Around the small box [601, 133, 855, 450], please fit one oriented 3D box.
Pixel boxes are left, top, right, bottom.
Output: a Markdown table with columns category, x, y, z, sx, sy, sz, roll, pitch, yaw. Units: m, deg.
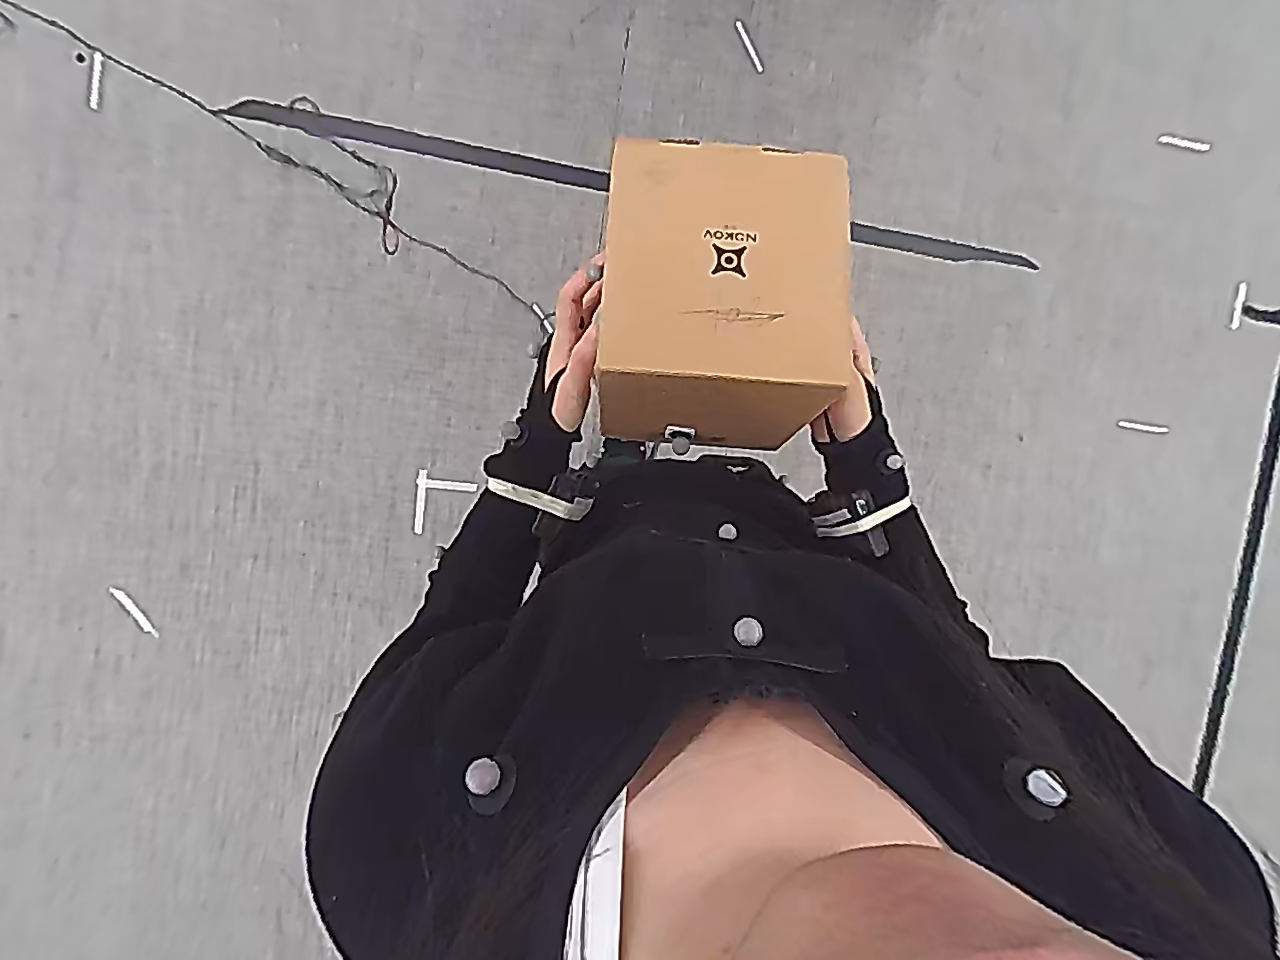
| category | x | y | z | sx | sy | sz | roll | pitch | yaw |
| --- | --- | --- | --- | --- | --- | --- | --- | --- | --- |
| small box | 0.056 | -0.133 | 0.435 | 0.168 | 0.176 | 0.179 | 3 | 79 | -2 |
